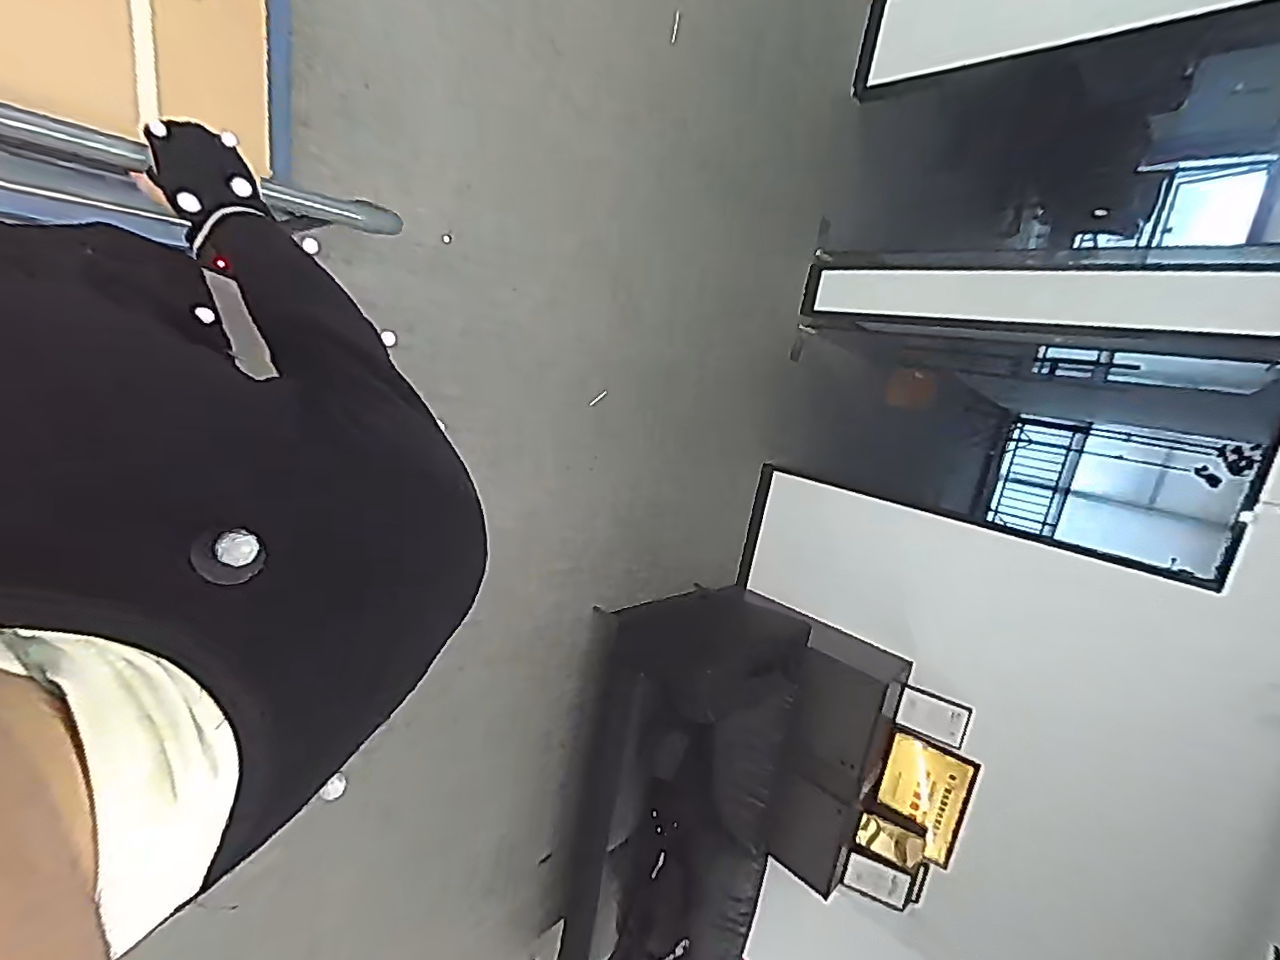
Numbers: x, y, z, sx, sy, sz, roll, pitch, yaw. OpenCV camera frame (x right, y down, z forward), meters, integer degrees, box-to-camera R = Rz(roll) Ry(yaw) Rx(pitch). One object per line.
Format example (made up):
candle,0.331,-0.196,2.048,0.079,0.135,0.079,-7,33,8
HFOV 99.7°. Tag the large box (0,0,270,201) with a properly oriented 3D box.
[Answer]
large box,-0.823,-0.711,0.865,0.320,0.320,0.408,-8,110,-47
